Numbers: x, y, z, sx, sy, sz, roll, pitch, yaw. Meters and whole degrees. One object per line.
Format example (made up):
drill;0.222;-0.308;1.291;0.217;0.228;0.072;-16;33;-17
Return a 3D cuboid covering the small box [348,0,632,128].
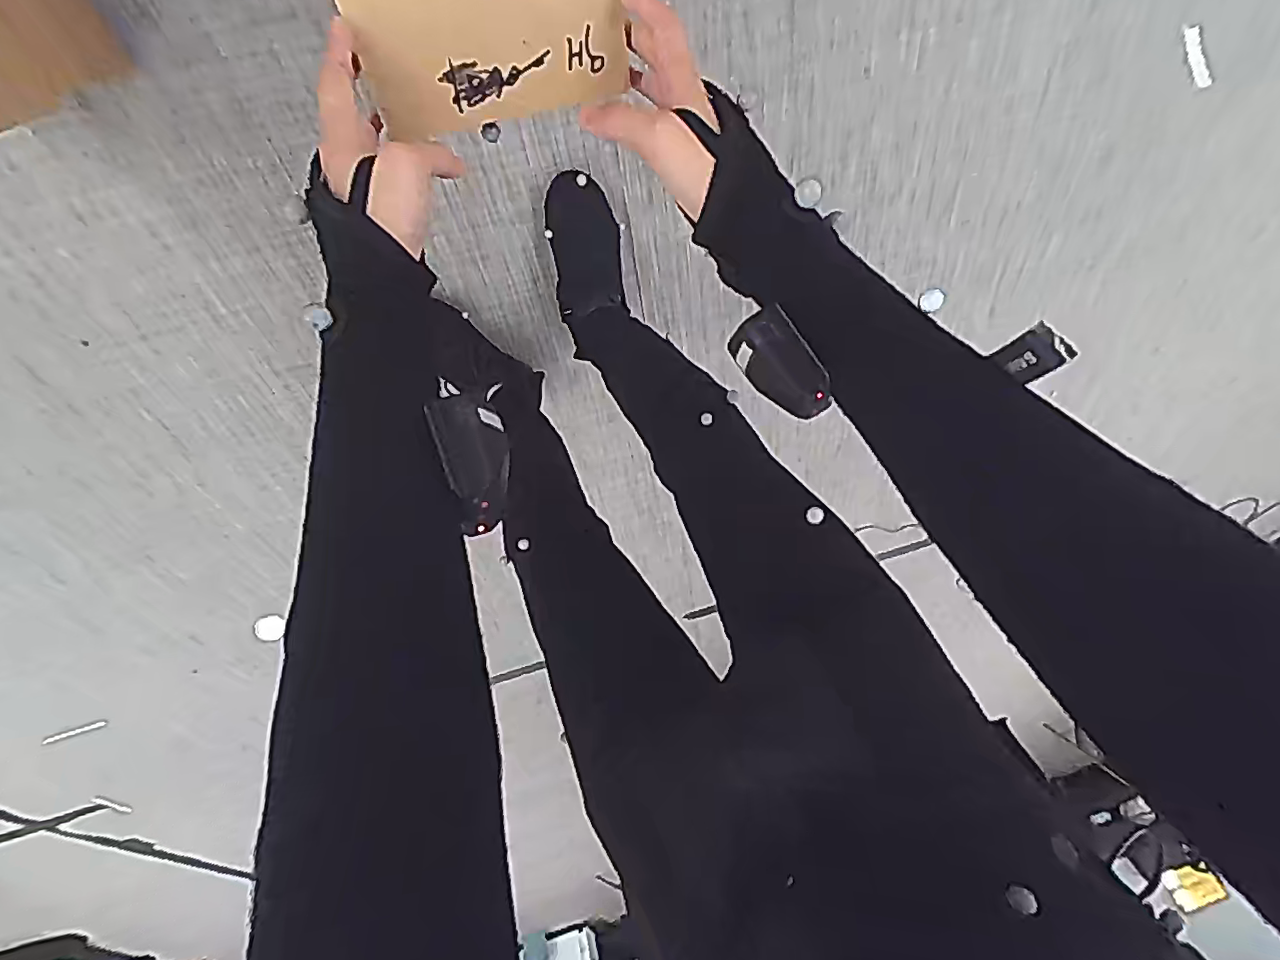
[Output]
small box;-0.114;-0.364;0.362;0.168;0.176;0.179;-16;134;-6
